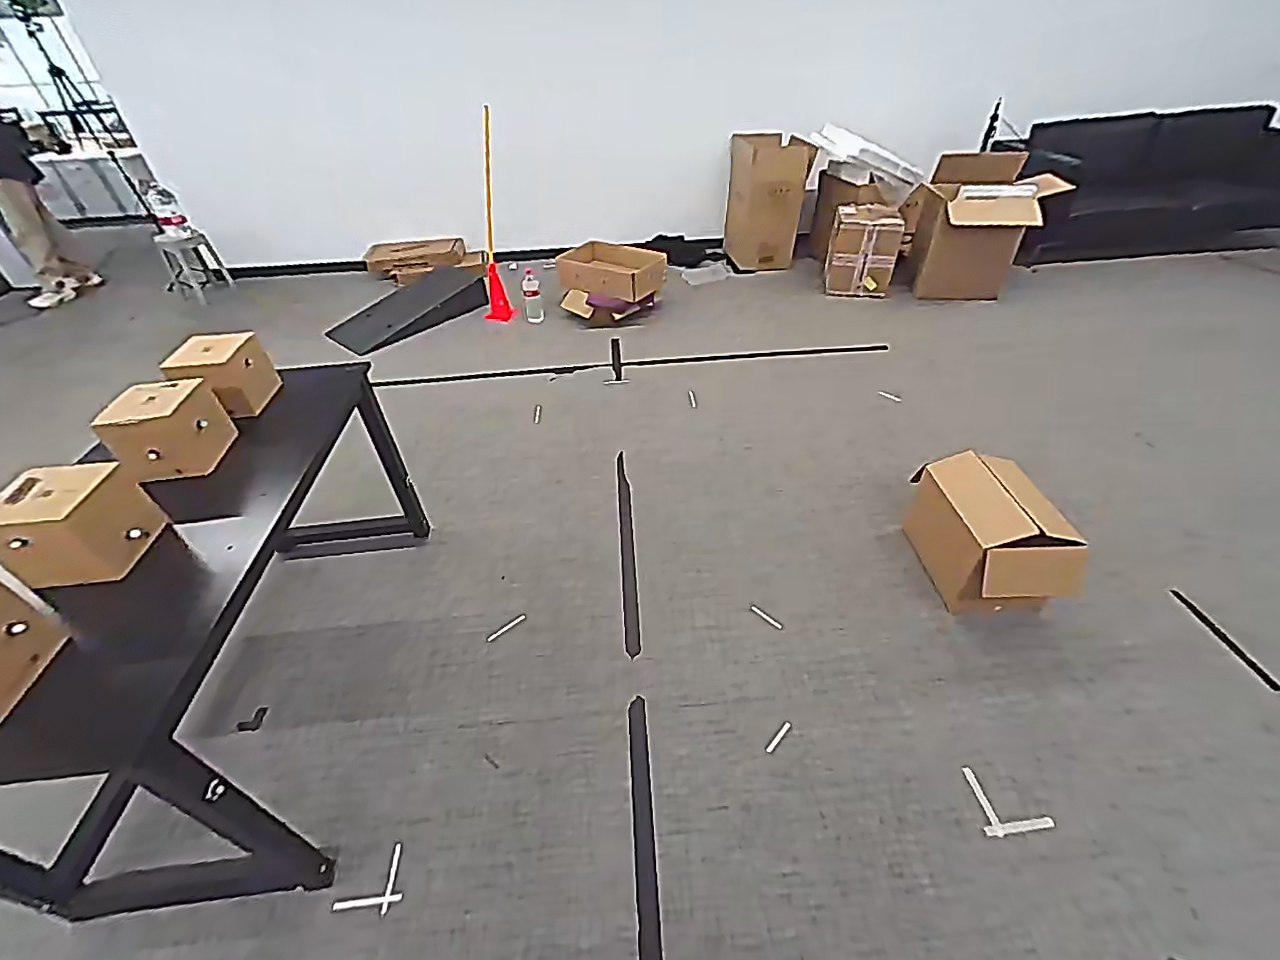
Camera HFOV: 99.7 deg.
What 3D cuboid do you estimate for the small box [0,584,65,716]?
[{"bbox_3d":[-1.082,0.281,0.837,0.179,0.176,0.168,-7,39,-4],"label":"small box"}]

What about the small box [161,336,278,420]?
[{"bbox_3d":[-1.141,-0.274,1.488,0.168,0.176,0.179,-5,41,-3],"label":"small box"}]

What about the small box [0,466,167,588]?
[{"bbox_3d":[-1.100,0.095,1.055,0.179,0.176,0.168,-5,41,-4],"label":"small box"}]

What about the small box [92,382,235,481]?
[{"bbox_3d":[-1.124,-0.110,1.297,0.168,0.176,0.179,-8,41,-6],"label":"small box"}]
